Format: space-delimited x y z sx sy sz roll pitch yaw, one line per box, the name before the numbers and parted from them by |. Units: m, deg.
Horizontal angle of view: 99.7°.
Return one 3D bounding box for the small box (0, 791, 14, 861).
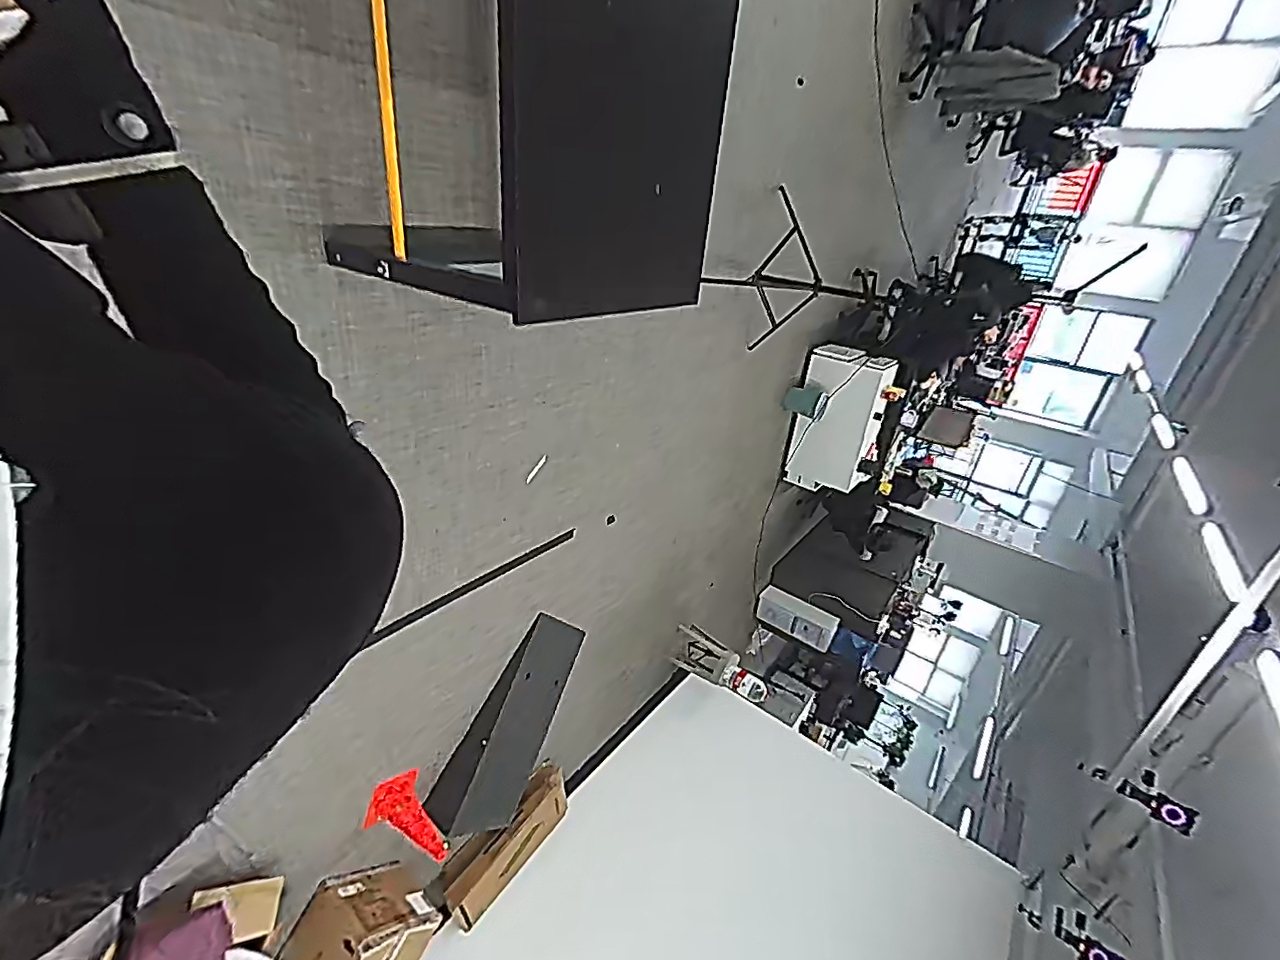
small box | -1.235 0.592 0.928 0.168 0.176 0.179 -24 129 -48
